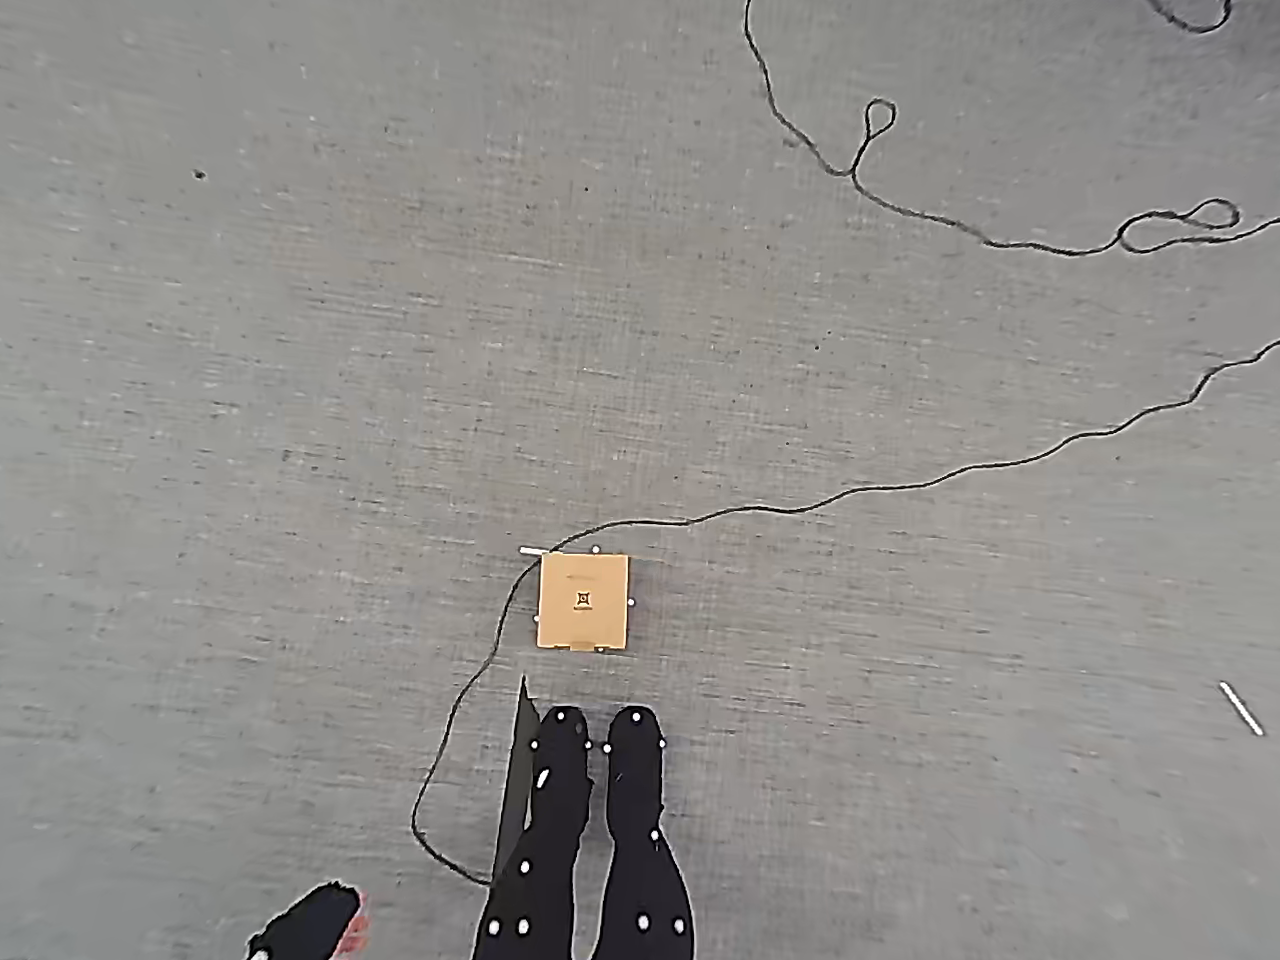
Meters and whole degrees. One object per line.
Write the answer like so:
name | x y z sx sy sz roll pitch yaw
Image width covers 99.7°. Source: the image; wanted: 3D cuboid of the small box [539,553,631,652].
small box | -0.107 0.240 1.091 0.168 0.176 0.179 3 81 -4
